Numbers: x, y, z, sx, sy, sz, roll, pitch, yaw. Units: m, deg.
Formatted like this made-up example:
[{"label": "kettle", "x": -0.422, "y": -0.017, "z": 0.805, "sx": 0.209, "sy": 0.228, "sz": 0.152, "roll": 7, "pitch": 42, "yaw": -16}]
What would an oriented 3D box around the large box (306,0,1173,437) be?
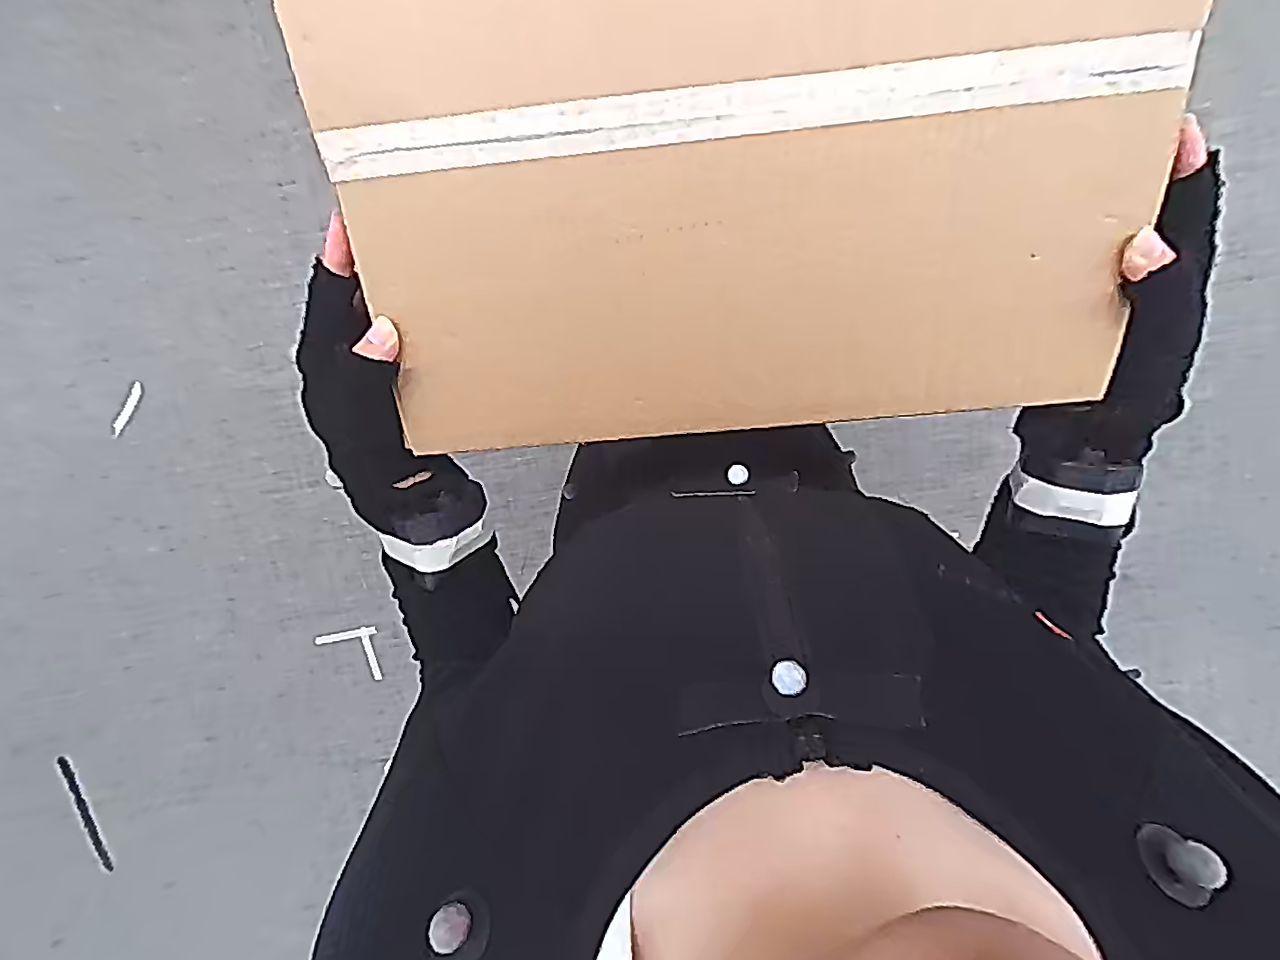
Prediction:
[{"label": "large box", "x": 0.047, "y": -0.243, "z": 0.403, "sx": 0.408, "sy": 0.320, "sz": 0.320, "roll": -5, "pitch": 115, "yaw": 2}]
